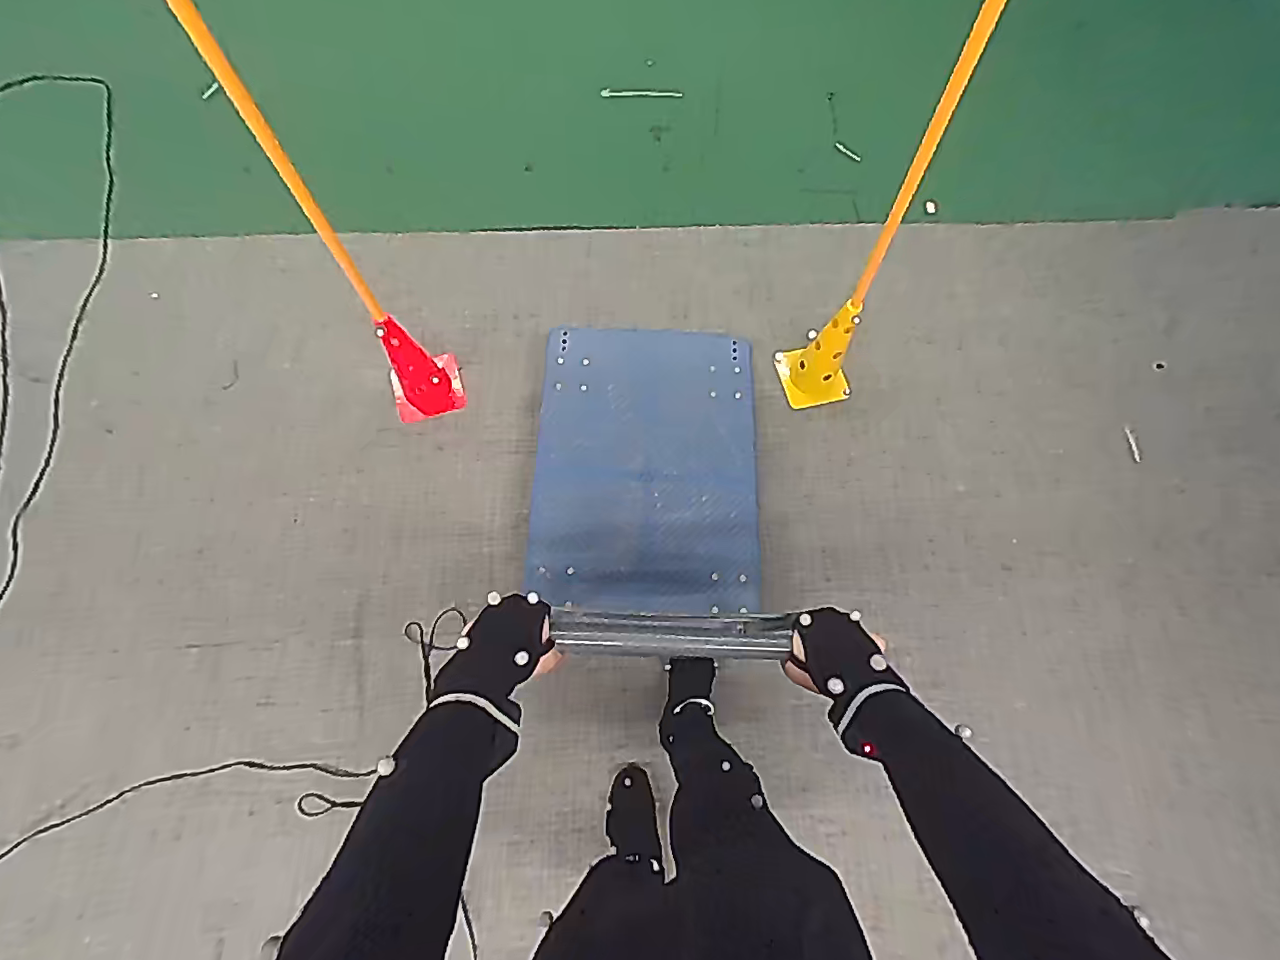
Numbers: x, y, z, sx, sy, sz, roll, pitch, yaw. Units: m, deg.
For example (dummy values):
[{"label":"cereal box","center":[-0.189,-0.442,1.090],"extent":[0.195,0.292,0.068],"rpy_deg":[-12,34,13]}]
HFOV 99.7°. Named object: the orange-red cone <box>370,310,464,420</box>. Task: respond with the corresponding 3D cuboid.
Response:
[{"label":"orange-red cone","center":[-0.641,-0.339,1.474],"extent":[0.199,0.360,0.198],"rpy_deg":[-17,72,-6]}]
